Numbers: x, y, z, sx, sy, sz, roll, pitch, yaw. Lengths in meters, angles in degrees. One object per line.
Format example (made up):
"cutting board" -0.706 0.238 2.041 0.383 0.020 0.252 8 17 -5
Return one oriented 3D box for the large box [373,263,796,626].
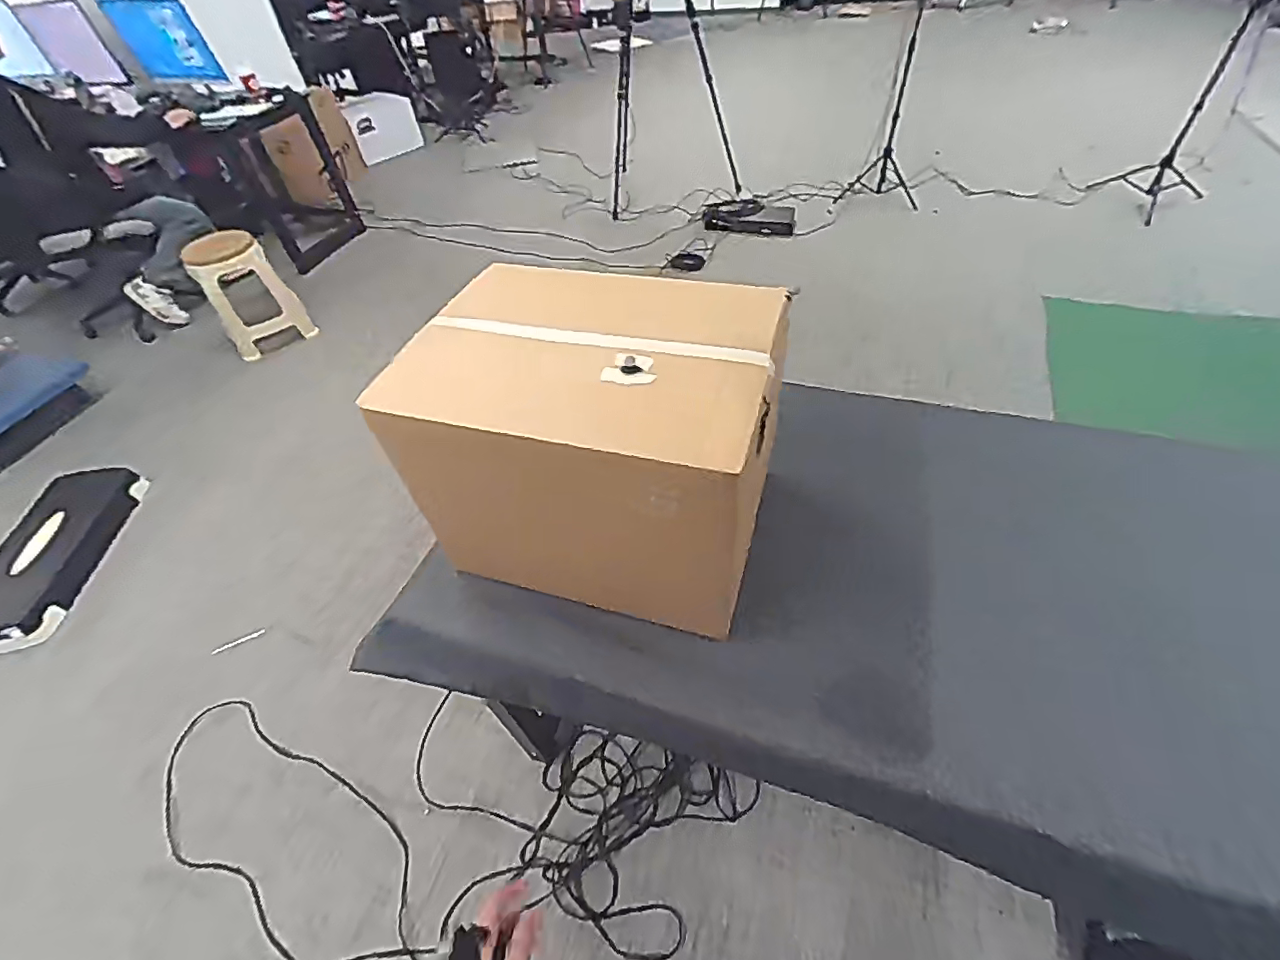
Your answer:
"large box" -0.038 -0.055 0.713 0.408 0.320 0.320 12 51 14
